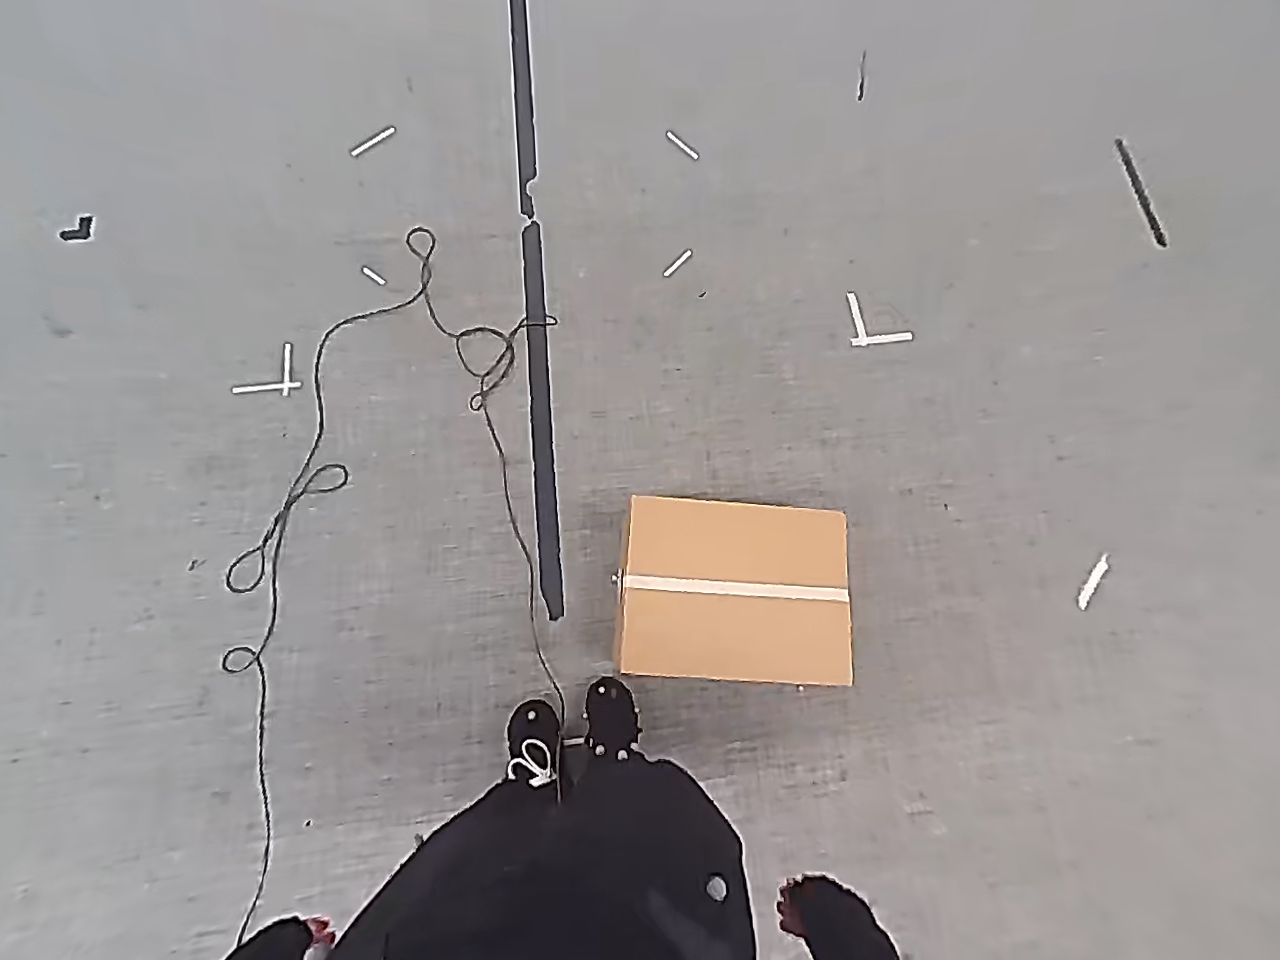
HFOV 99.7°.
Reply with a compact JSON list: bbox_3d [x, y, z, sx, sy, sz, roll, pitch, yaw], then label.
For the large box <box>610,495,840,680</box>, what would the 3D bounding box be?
[{"bbox_3d":[0.152,0.225,1.116,0.408,0.320,0.320,5,74,-4],"label":"large box"}]
